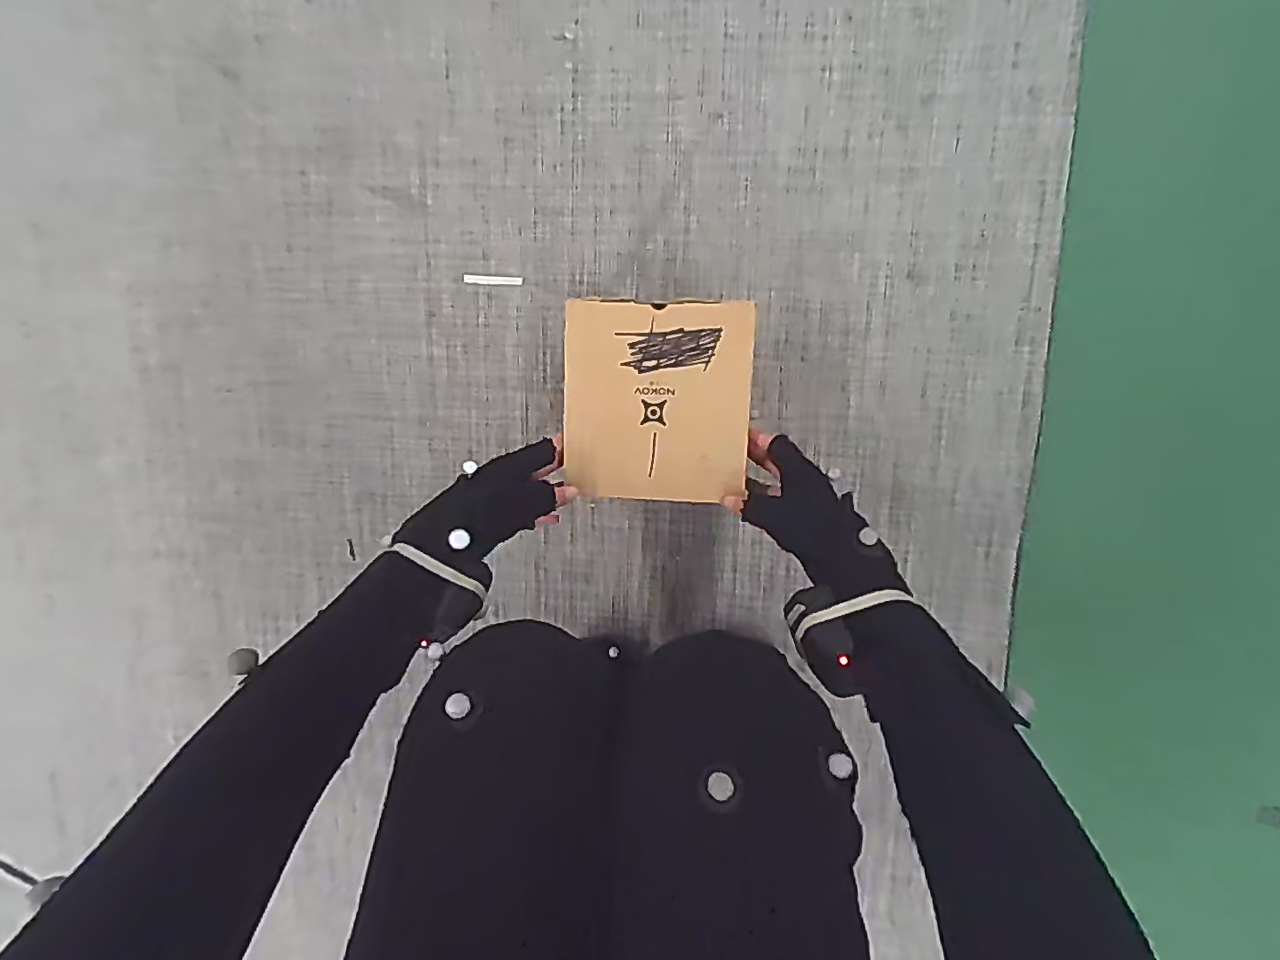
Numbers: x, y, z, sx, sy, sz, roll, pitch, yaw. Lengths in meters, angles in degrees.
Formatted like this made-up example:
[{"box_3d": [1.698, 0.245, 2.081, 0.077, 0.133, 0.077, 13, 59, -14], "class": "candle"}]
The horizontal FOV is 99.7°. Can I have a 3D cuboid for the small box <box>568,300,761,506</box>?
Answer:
[{"box_3d": [0.027, -0.079, 0.554, 0.168, 0.176, 0.179, 3, 100, 7], "class": "small box"}]
